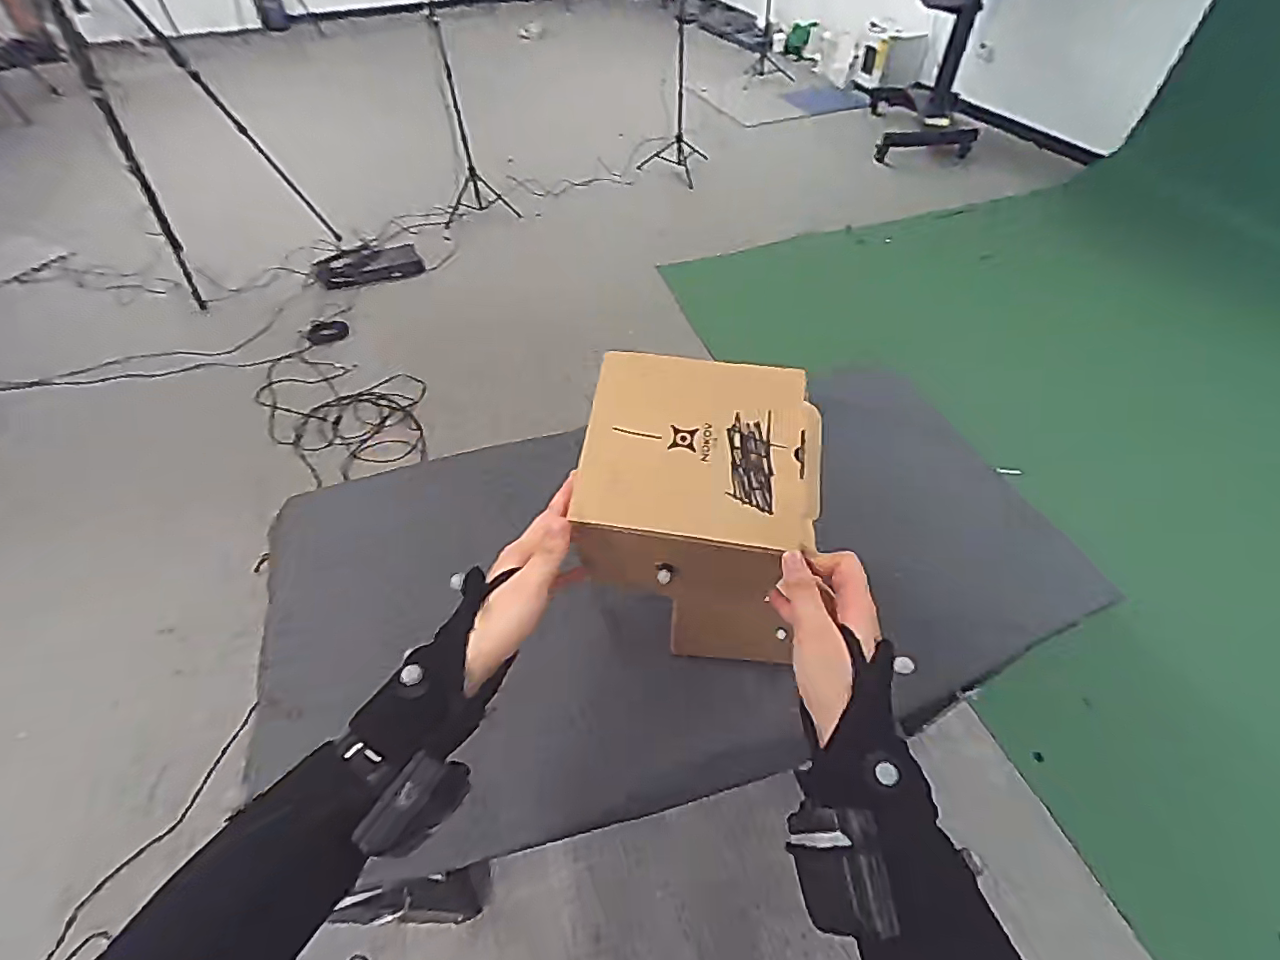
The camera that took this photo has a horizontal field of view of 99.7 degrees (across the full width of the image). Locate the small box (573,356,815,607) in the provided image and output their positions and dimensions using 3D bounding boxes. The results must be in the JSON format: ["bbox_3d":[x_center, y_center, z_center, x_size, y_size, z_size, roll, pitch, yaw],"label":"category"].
[{"bbox_3d":[0.050,0.012,0.503,0.179,0.176,0.168,8,64,6],"label":"small box"}]
